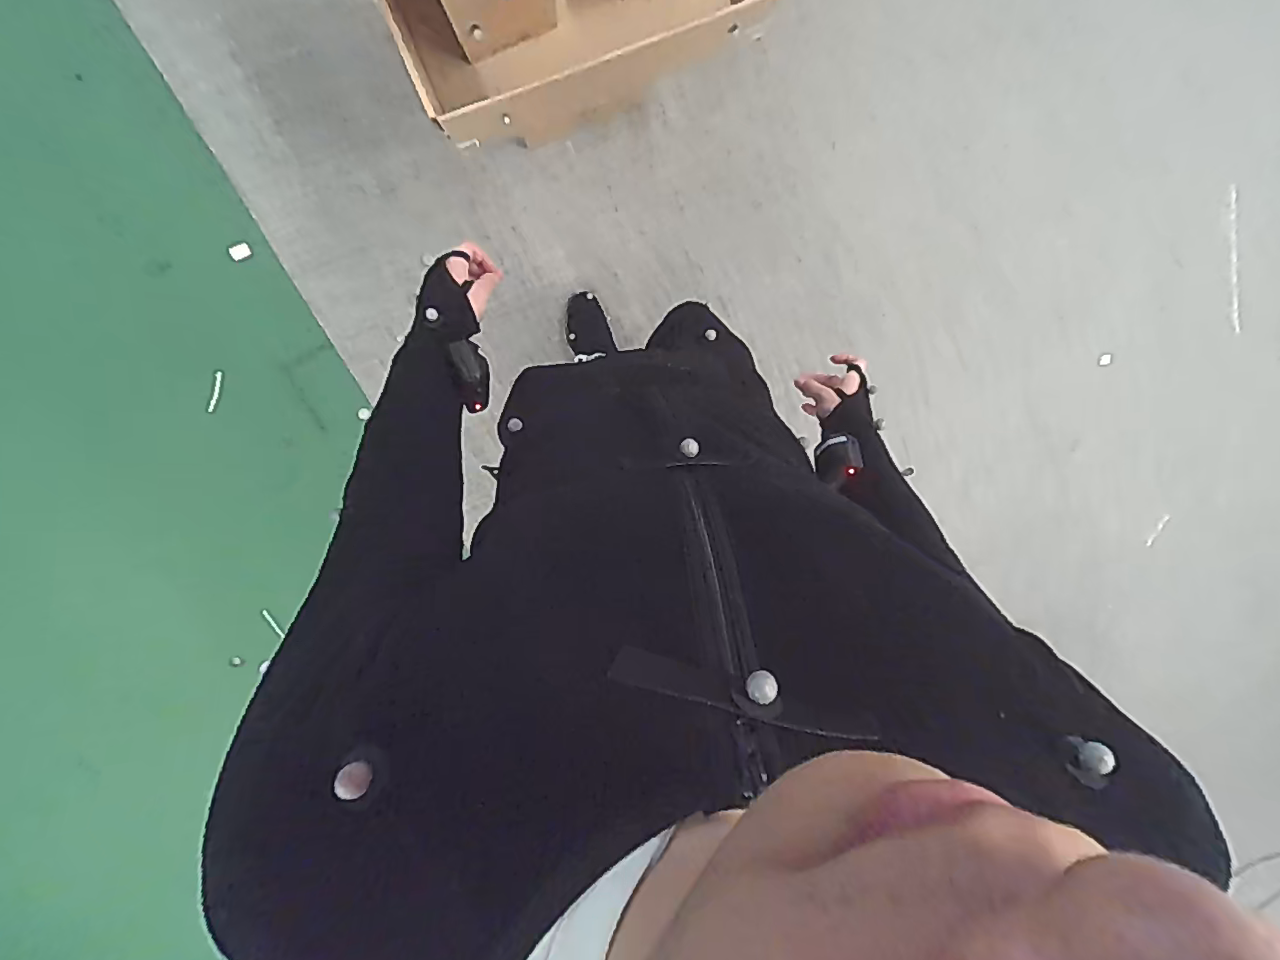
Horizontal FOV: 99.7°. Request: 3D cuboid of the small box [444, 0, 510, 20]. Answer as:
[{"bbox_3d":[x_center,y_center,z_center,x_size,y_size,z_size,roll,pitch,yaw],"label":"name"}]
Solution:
[{"bbox_3d":[-0.212,-0.727,0.661,0.168,0.176,0.179,-23,111,2],"label":"small box"}]
